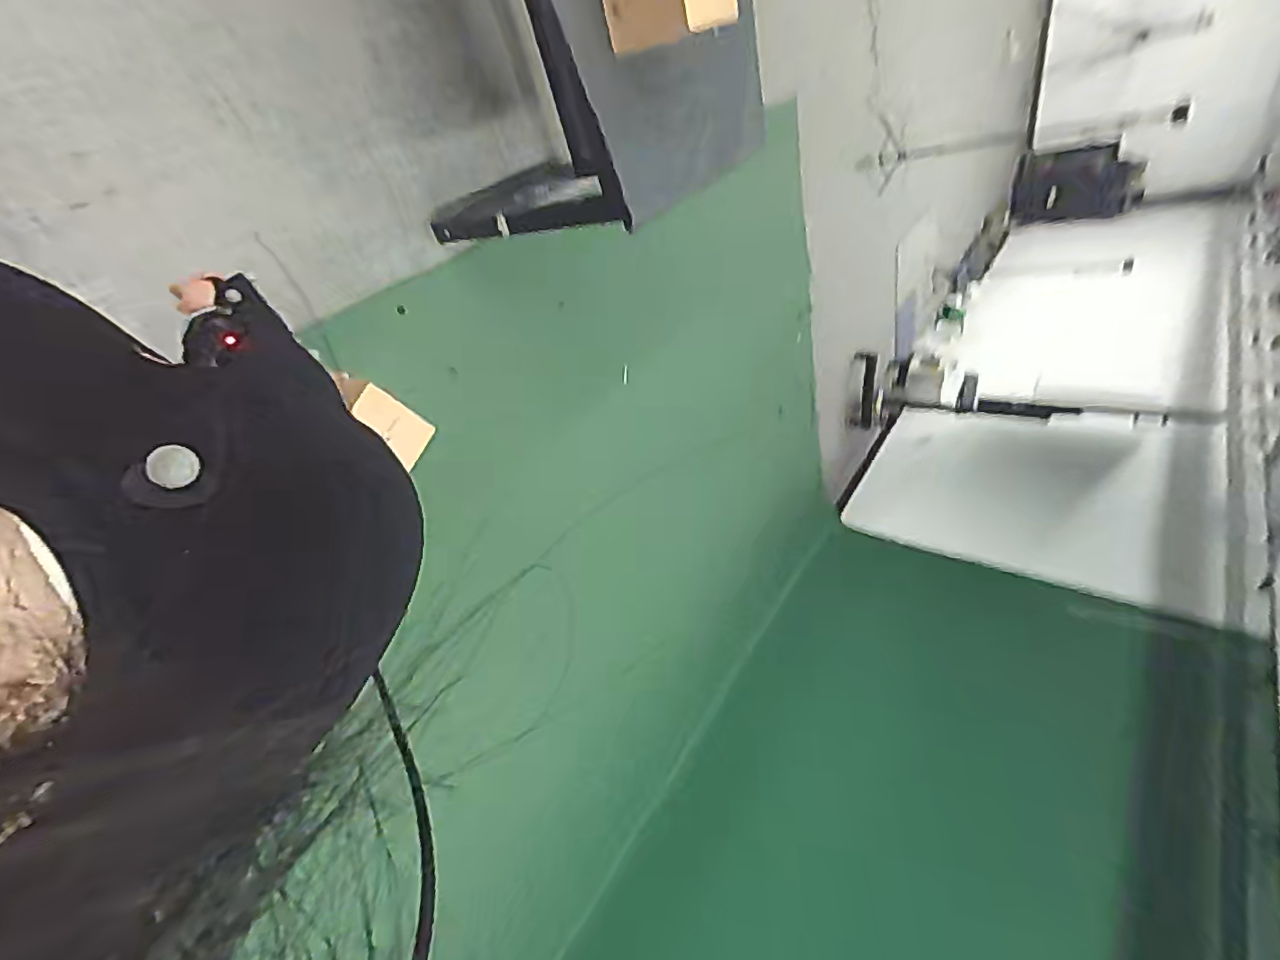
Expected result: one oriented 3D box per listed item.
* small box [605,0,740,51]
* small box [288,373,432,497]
[{"bbox_3d":[0.045,-0.859,0.916,0.179,0.176,0.168,-47,135,-34],"label":"small box"},{"bbox_3d":[-0.563,-0.093,1.078,0.168,0.176,0.179,45,66,-48],"label":"small box"}]
